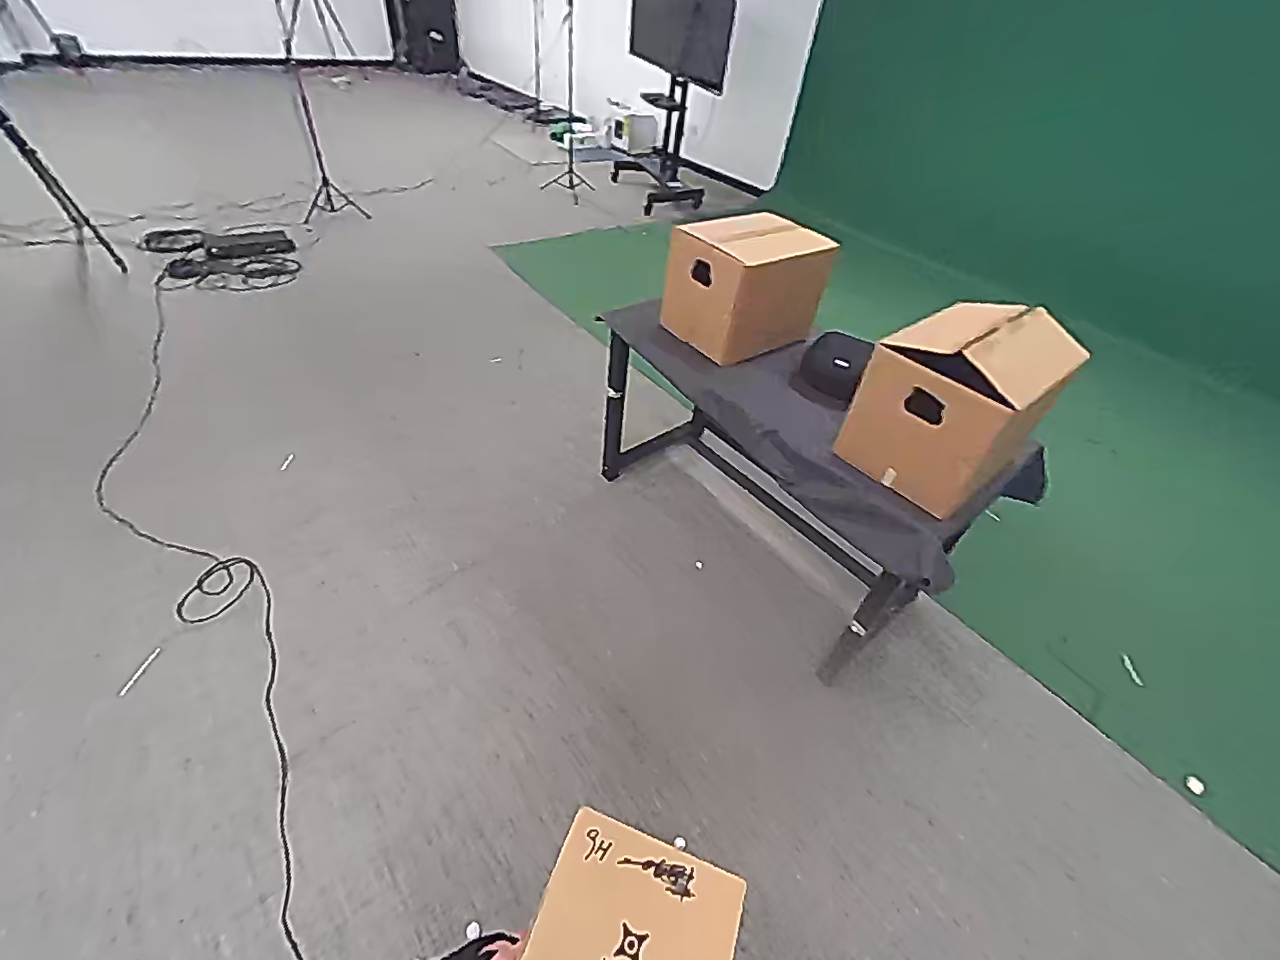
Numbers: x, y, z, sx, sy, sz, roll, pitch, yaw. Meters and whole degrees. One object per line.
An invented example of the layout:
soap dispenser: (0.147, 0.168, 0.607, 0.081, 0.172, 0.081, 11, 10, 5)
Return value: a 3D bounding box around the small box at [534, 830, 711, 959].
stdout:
small box: (-0.025, 0.553, 0.628, 0.168, 0.176, 0.179, 15, 45, 10)
